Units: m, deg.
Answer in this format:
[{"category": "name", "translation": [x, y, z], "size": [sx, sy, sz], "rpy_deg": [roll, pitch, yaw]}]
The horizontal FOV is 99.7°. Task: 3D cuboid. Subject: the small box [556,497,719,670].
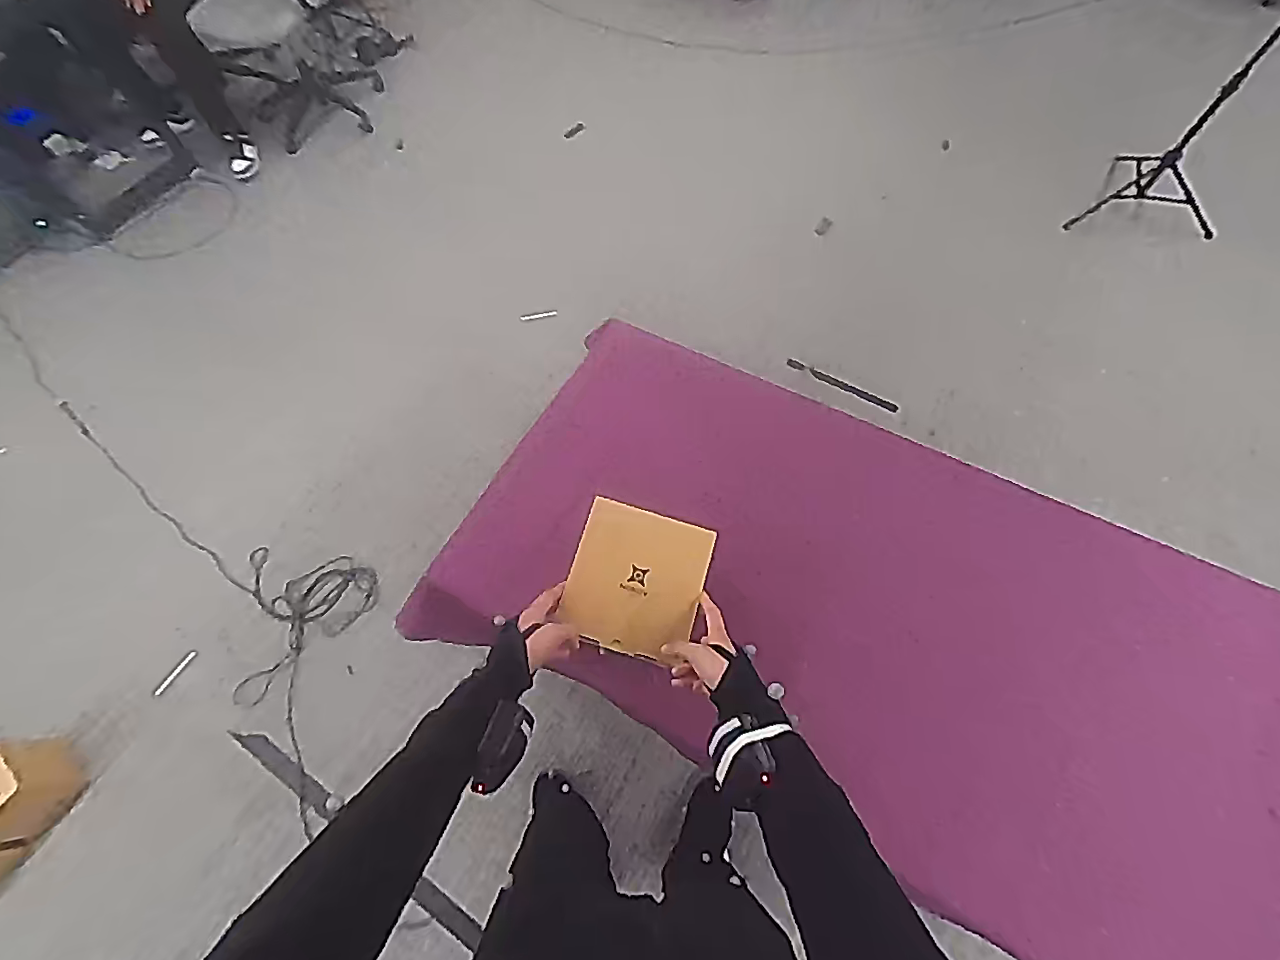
[{"category": "small box", "translation": [-0.006, 0.147, 0.745], "size": [0.168, 0.176, 0.179], "rpy_deg": [18, 73, 2]}]
